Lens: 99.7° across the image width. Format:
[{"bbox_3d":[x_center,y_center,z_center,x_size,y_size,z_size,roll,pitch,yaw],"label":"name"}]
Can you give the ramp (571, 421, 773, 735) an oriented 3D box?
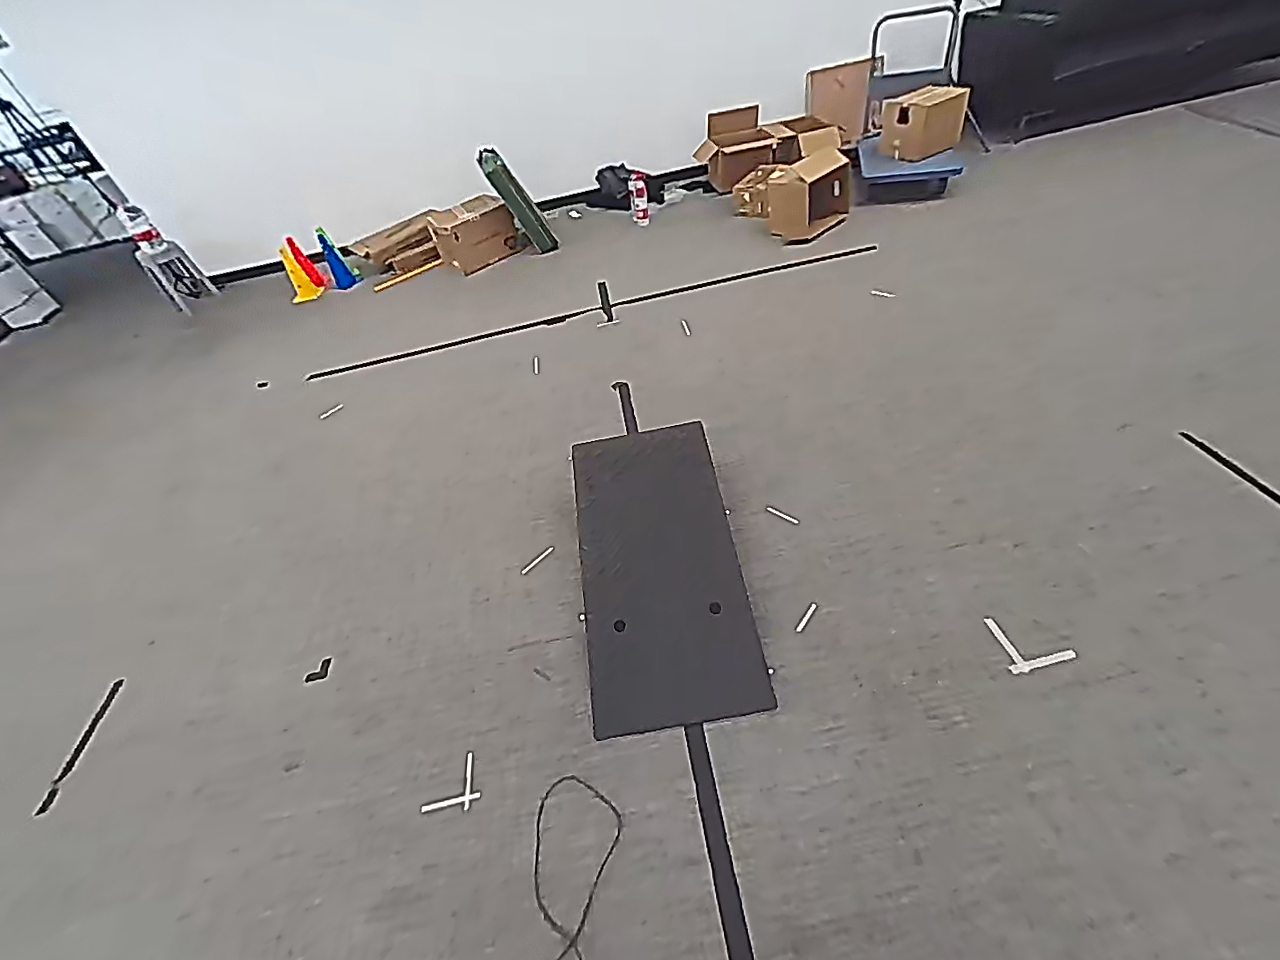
[{"bbox_3d":[0.051,0.233,1.711,0.509,0.206,0.991,-11,45,0],"label":"ramp"}]
